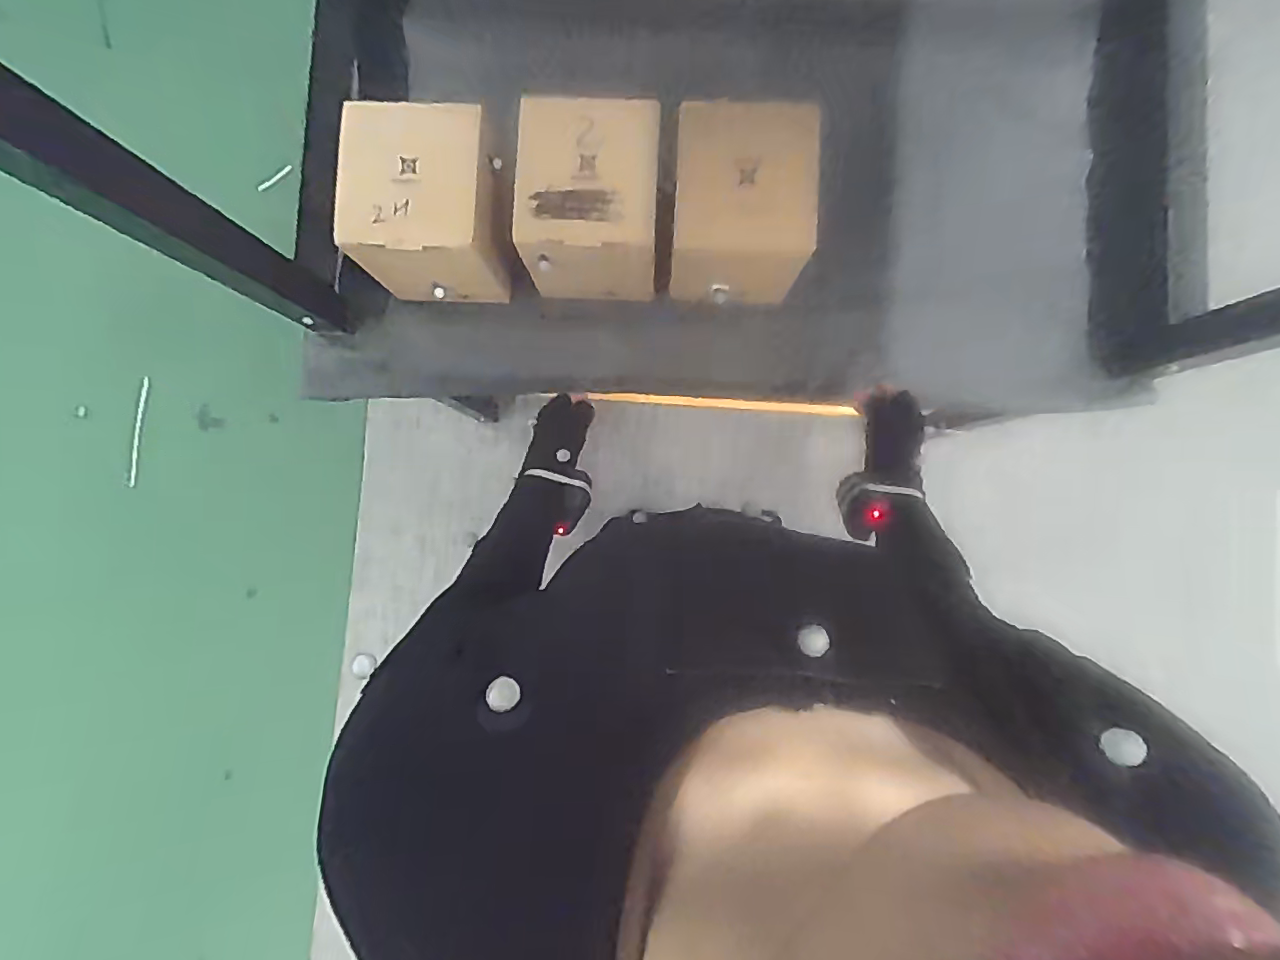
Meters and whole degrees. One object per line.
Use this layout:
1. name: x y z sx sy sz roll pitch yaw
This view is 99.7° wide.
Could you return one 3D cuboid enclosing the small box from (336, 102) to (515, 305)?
1. small box: -0.265 -0.350 0.708 0.168 0.176 0.179 2 87 1
